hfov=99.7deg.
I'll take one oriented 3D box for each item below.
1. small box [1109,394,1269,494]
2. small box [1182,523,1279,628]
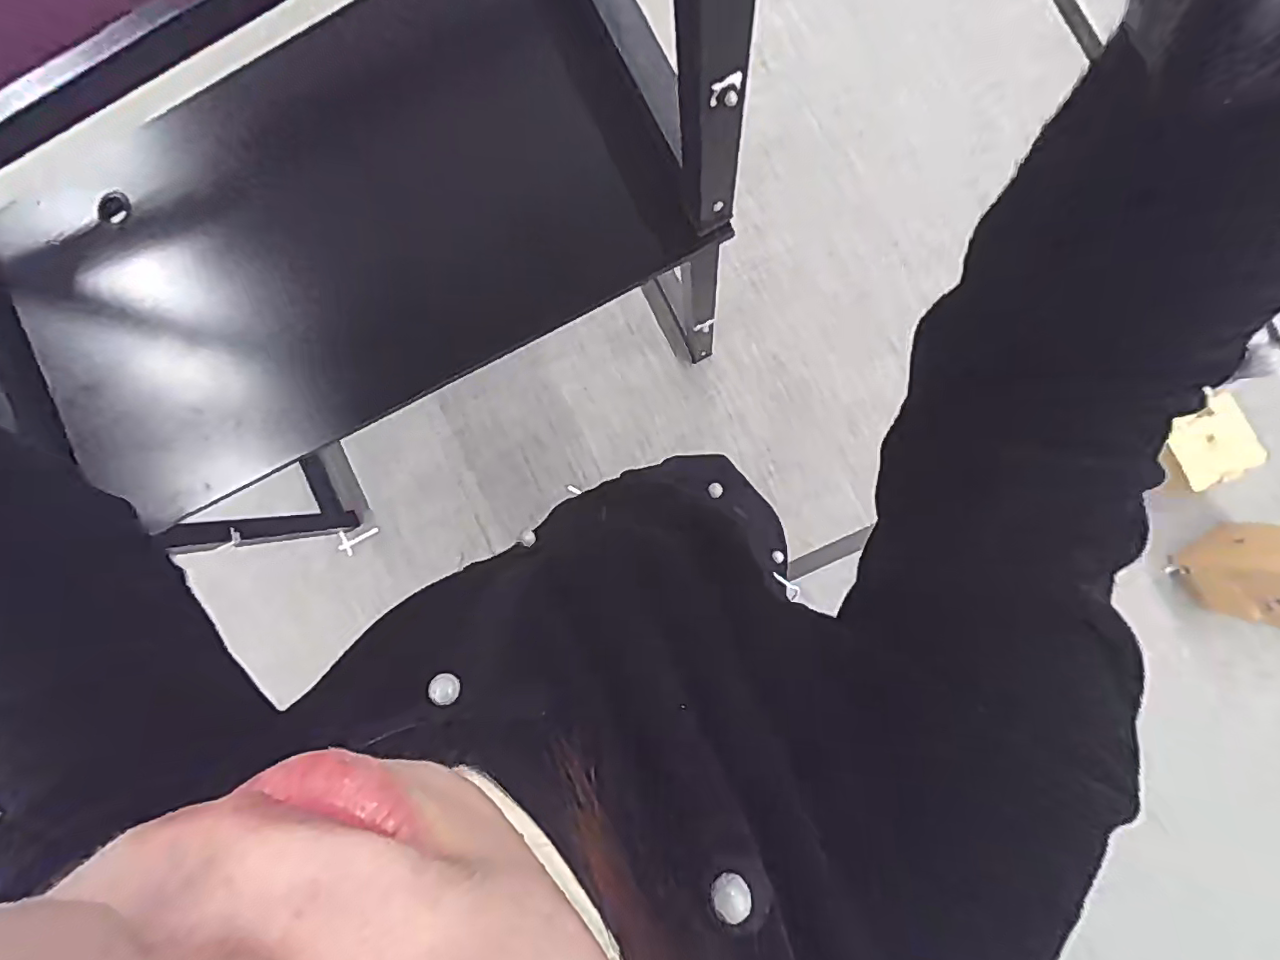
[{"bbox_3d":[1.284,-0.082,1.279,0.168,0.176,0.179,-27,88,5],"label":"small box"},{"bbox_3d":[1.441,0.215,1.262,0.179,0.176,0.168,-33,87,4],"label":"small box"}]
